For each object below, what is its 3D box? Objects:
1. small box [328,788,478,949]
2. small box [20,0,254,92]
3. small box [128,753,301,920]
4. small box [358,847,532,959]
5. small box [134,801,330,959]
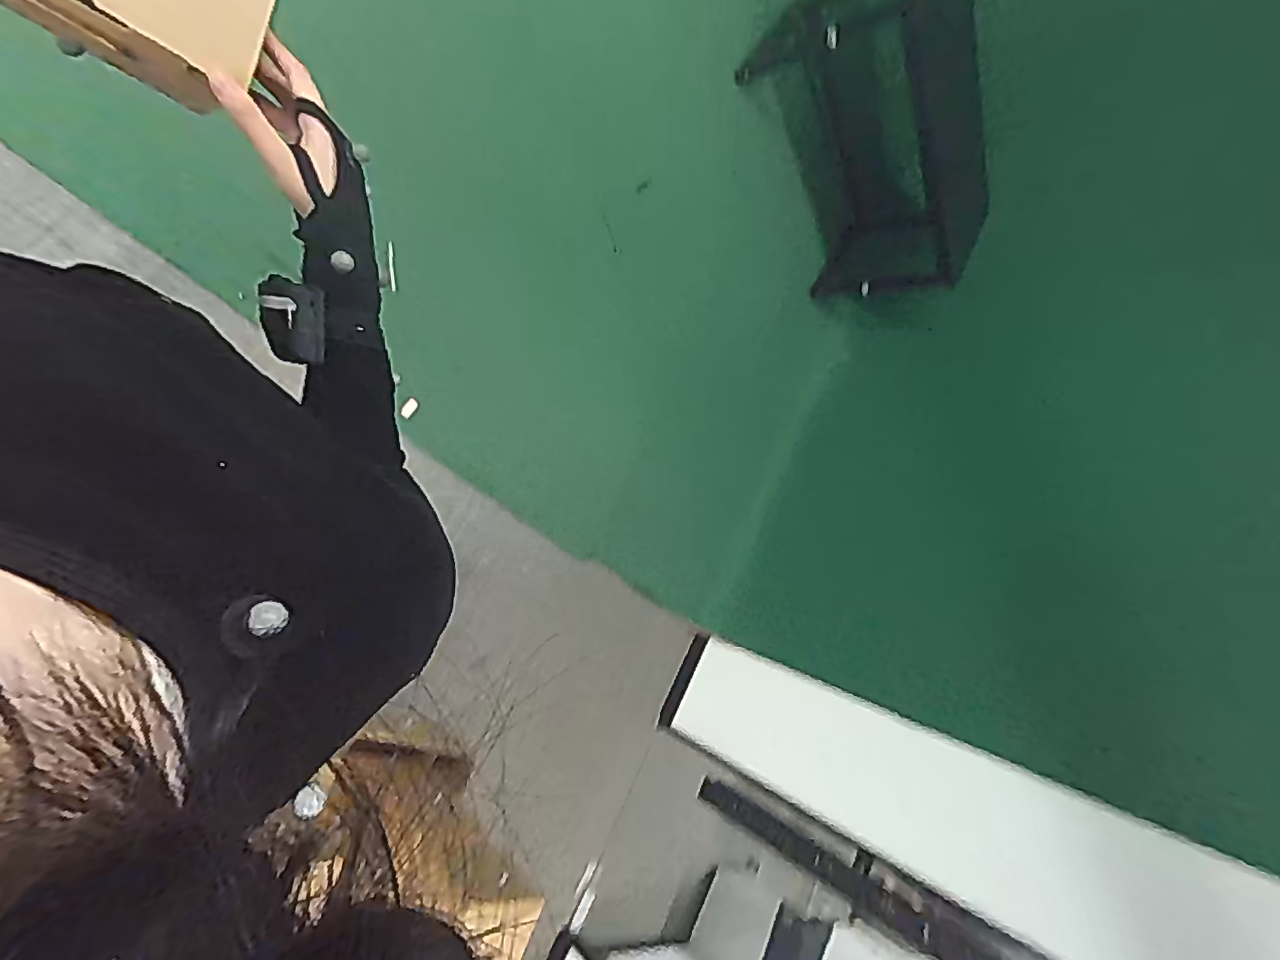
[{"bbox_3d":[-0.442,0.705,0.999,0.168,0.176,0.179,39,69,-44],"label":"small box"},{"bbox_3d":[-0.351,-0.389,0.348,0.168,0.176,0.179,14,102,-50],"label":"small box"},{"bbox_3d":[-0.724,0.587,0.918,0.179,0.176,0.168,27,79,-47],"label":"small box"},{"bbox_3d":[-0.320,0.739,0.893,0.179,0.176,0.168,41,68,-43],"label":"small box"},{"bbox_3d":[-0.608,0.613,0.805,0.179,0.176,0.168,27,80,-47],"label":"small box"}]
